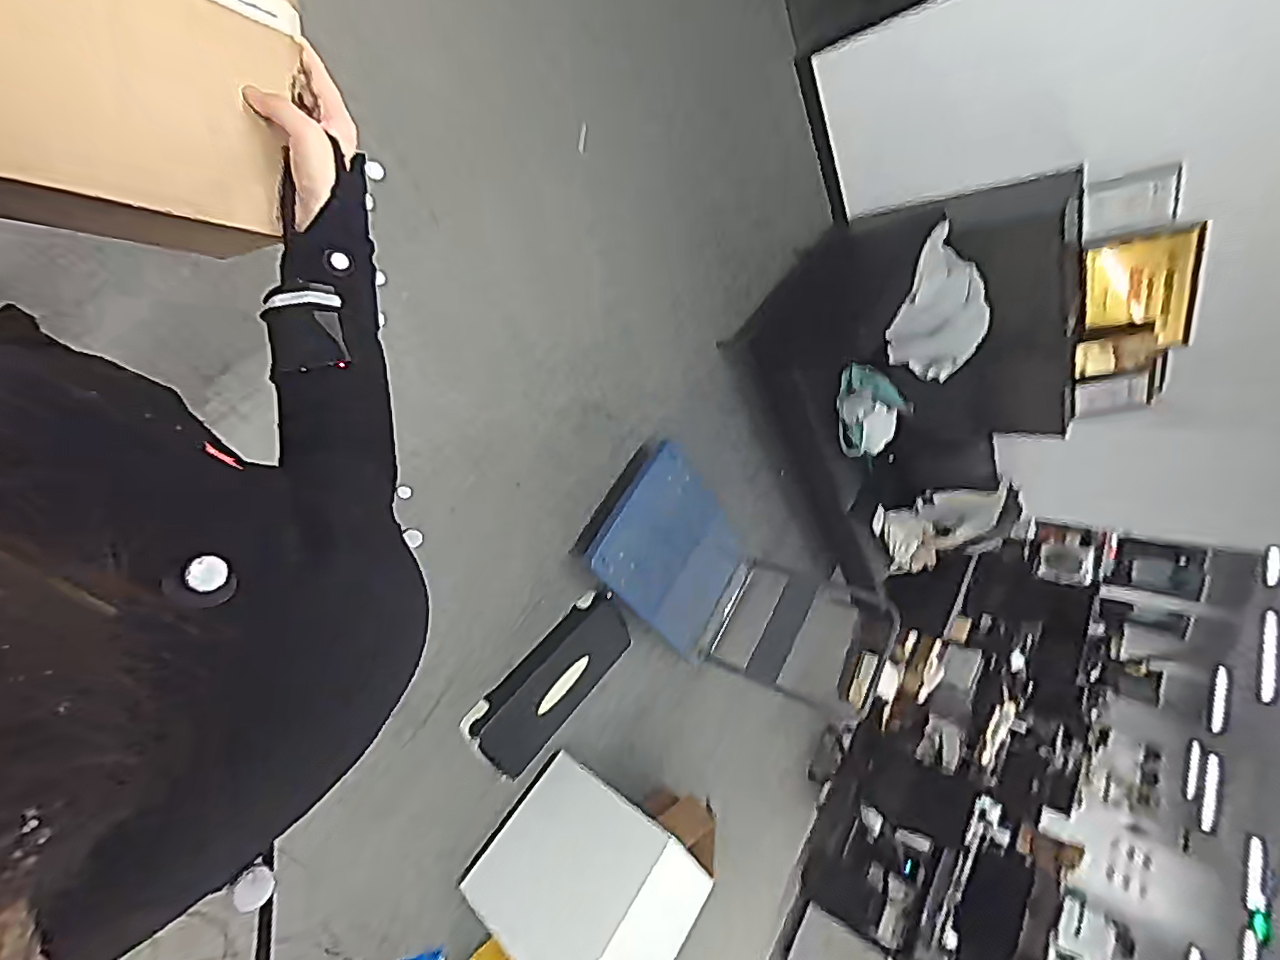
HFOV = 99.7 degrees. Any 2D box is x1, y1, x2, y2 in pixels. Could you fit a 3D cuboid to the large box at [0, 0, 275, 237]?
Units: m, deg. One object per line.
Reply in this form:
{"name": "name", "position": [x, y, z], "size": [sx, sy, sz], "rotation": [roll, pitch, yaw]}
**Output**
{"name": "large box", "position": [-0.530, -0.380, 0.381], "size": [0.408, 0.320, 0.320], "rotation": [-6, 108, -43]}
